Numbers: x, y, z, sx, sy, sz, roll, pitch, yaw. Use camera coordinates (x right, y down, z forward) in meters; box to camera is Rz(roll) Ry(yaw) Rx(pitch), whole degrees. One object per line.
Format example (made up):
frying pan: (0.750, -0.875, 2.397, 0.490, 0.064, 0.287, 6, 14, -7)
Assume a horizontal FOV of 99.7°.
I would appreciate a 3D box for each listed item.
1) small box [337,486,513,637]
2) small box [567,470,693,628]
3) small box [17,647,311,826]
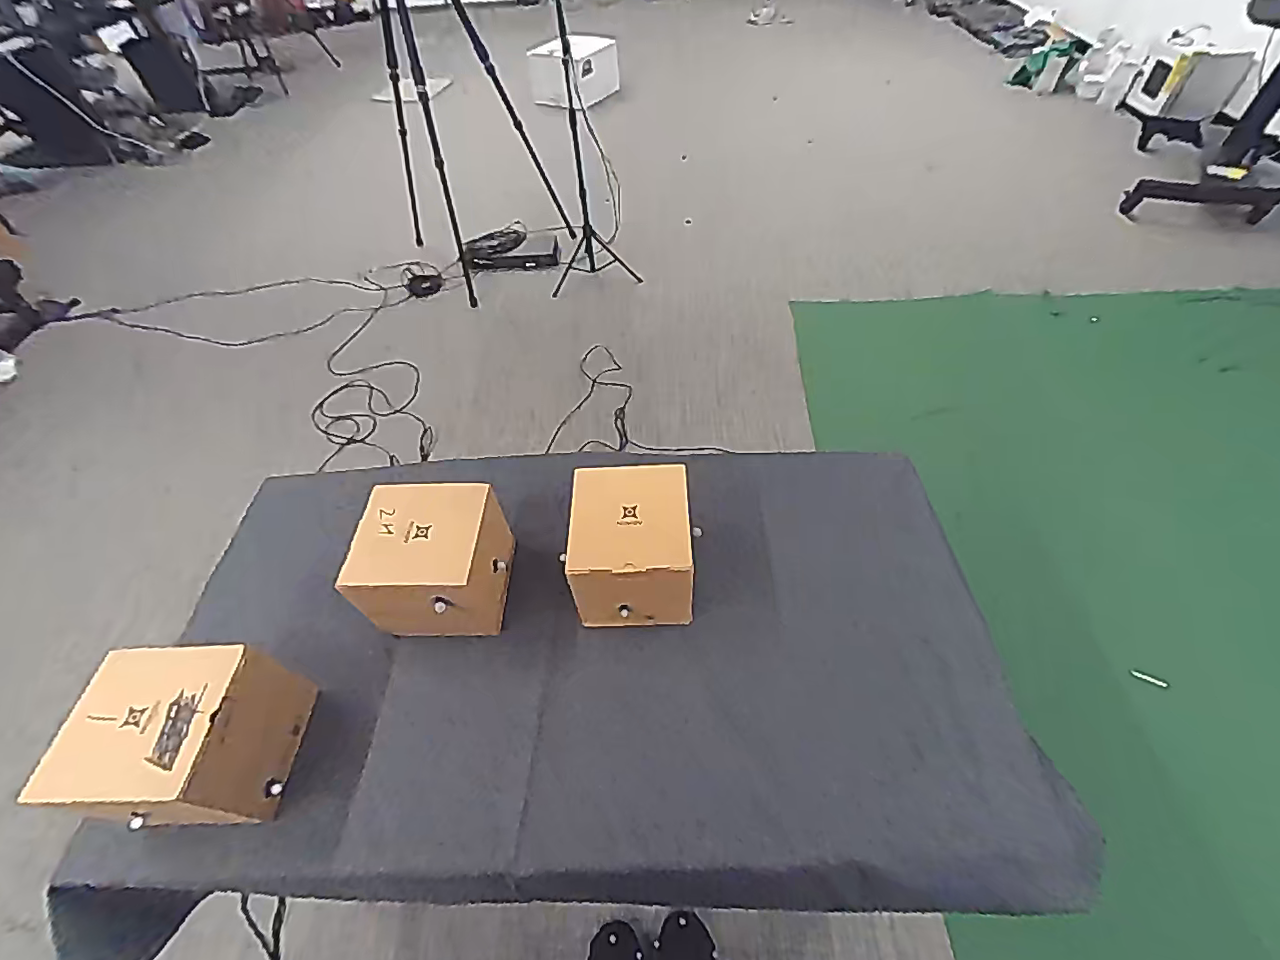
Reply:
small box: (-0.300, 0.124, 0.802, 0.179, 0.176, 0.168, 0, 52, 3)
small box: (-0.011, 0.104, 0.806, 0.168, 0.176, 0.179, -2, 52, 2)
small box: (-0.550, 0.316, 0.663, 0.179, 0.176, 0.168, -2, 50, 2)
